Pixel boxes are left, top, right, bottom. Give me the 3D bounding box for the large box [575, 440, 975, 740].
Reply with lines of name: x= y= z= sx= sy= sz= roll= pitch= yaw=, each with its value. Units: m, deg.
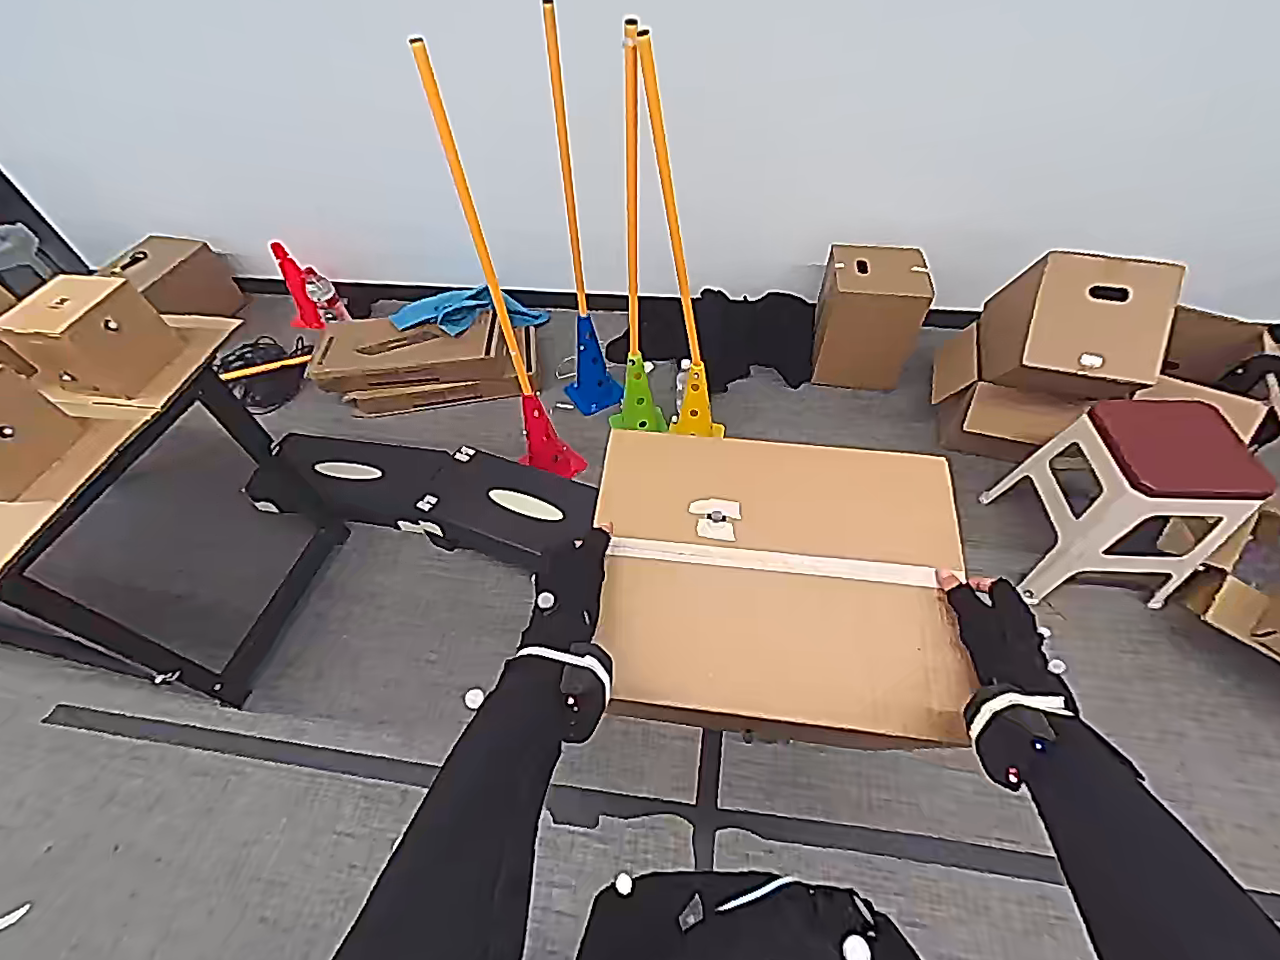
large box: x=0.154 y=0.165 z=0.737 sx=0.408 sy=0.320 sz=0.320 roll=5 pitch=63 yaw=6
